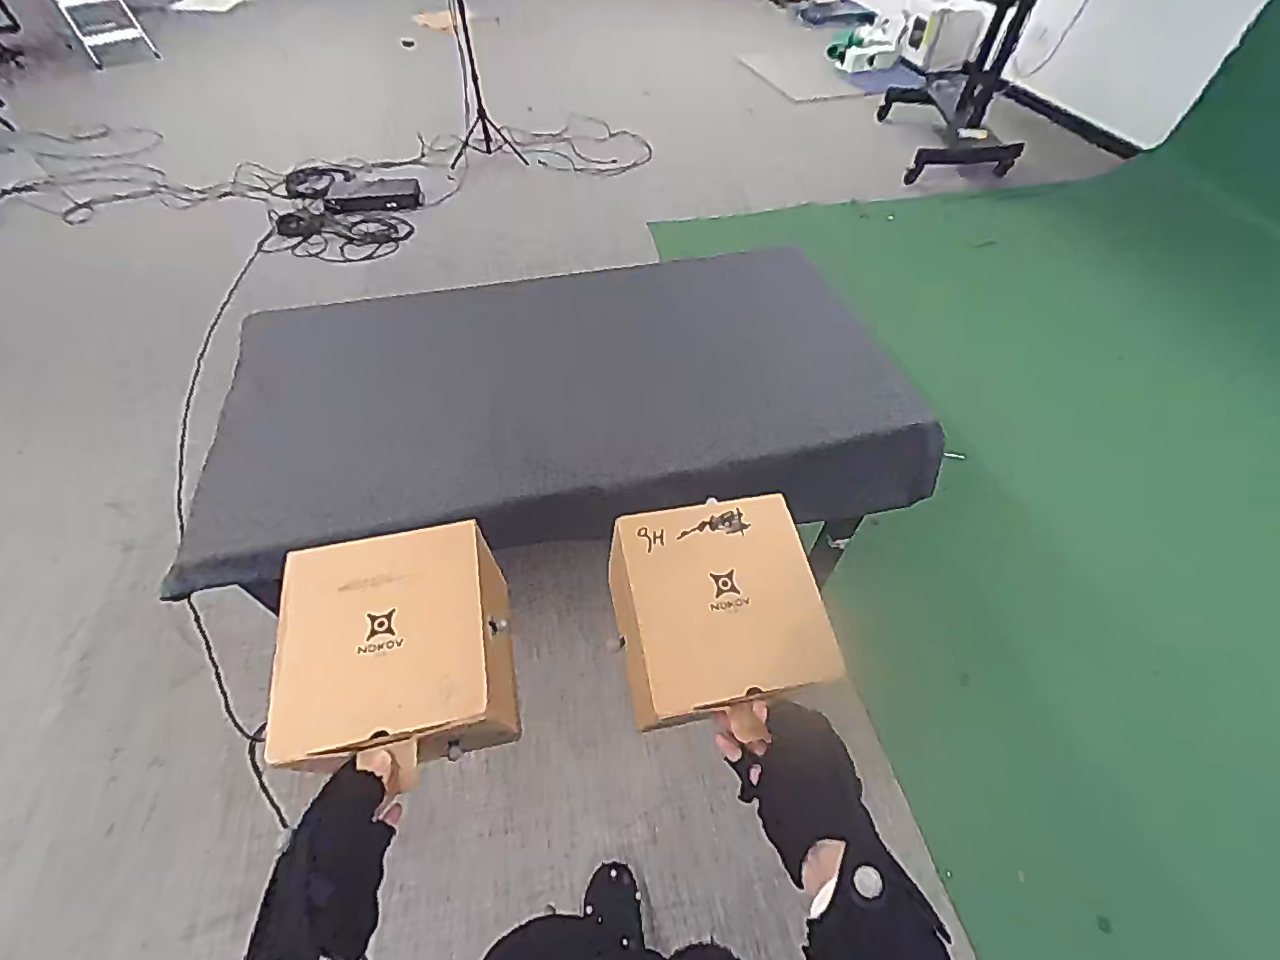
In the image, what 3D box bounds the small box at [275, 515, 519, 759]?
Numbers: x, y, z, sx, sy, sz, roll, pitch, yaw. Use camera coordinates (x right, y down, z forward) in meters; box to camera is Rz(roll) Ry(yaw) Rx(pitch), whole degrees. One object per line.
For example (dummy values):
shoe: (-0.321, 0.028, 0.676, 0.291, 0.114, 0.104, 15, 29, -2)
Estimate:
small box: (-0.218, 0.160, 0.527, 0.168, 0.176, 0.179, -10, 59, -10)
